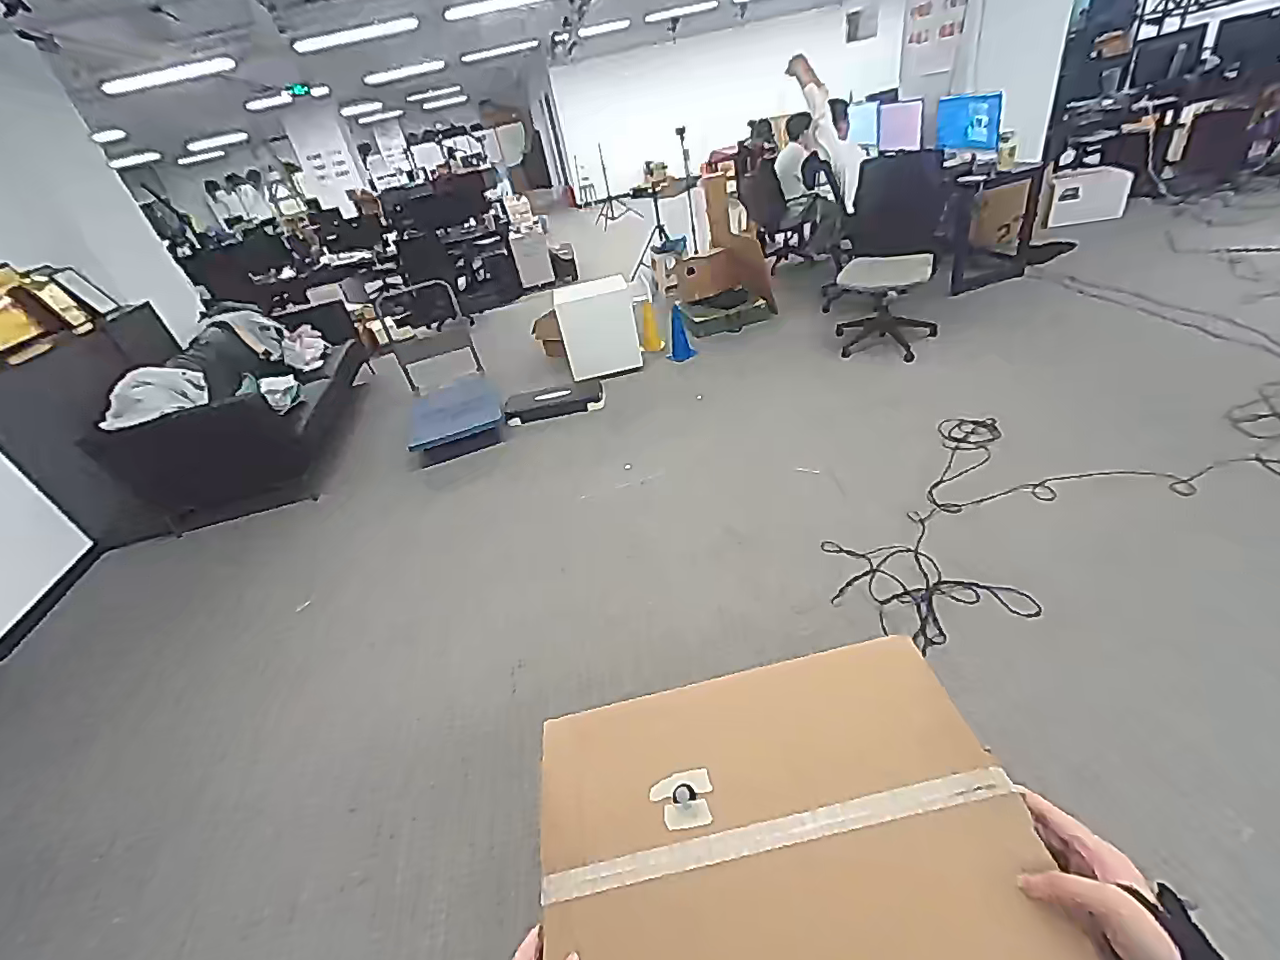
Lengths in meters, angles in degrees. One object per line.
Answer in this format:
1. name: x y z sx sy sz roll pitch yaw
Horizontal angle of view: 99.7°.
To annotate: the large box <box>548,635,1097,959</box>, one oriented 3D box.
1. large box: 0.147 0.425 0.569 0.408 0.320 0.320 -16 38 3
